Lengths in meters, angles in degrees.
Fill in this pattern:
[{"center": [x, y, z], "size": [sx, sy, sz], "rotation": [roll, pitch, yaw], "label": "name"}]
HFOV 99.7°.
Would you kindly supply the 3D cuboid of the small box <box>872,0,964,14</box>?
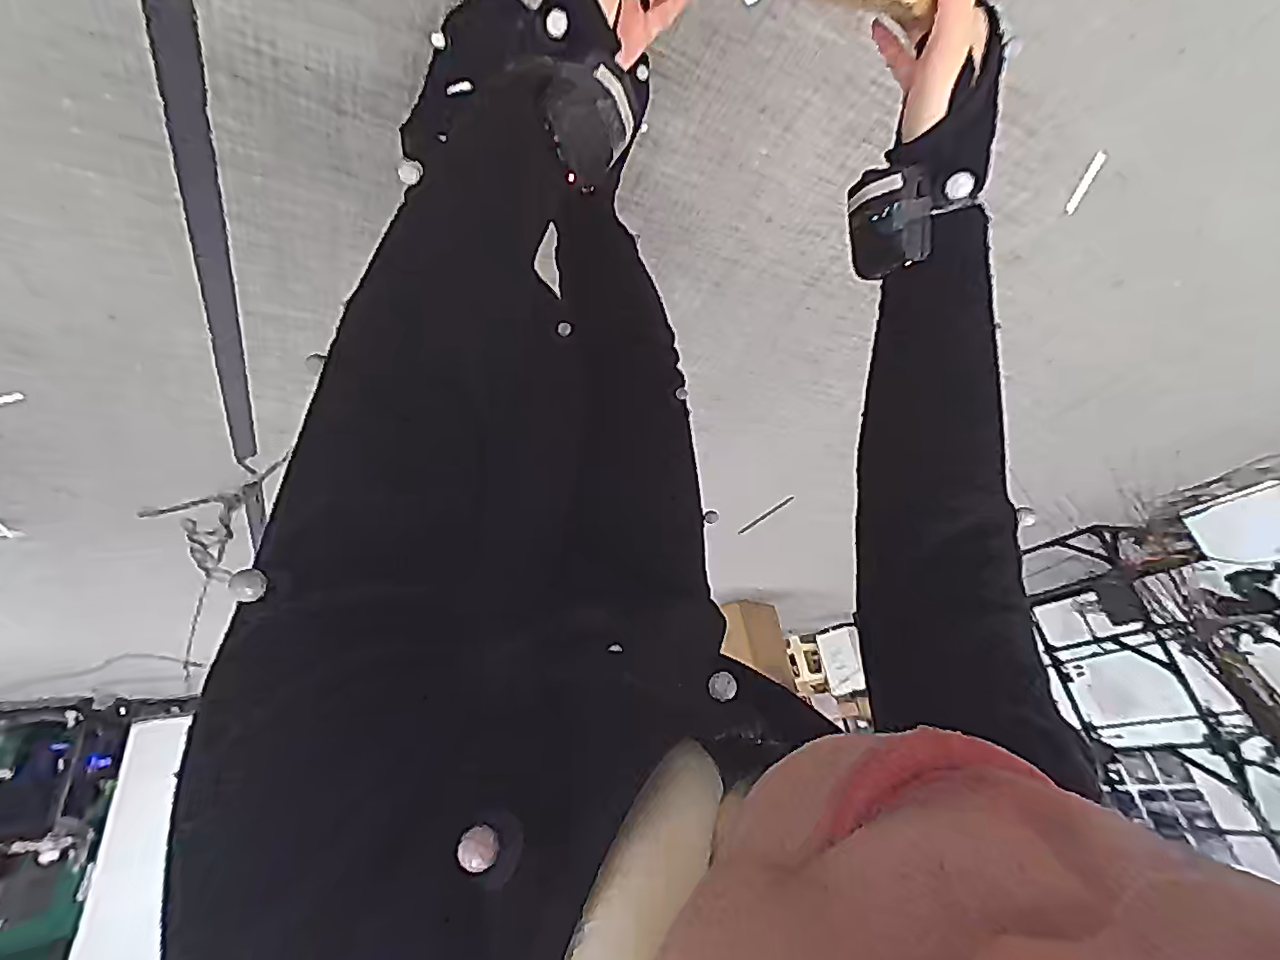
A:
[{"center": [0.110, -0.391, 0.286], "size": [0.168, 0.176, 0.179], "rotation": [-1, 135, -23], "label": "small box"}]
